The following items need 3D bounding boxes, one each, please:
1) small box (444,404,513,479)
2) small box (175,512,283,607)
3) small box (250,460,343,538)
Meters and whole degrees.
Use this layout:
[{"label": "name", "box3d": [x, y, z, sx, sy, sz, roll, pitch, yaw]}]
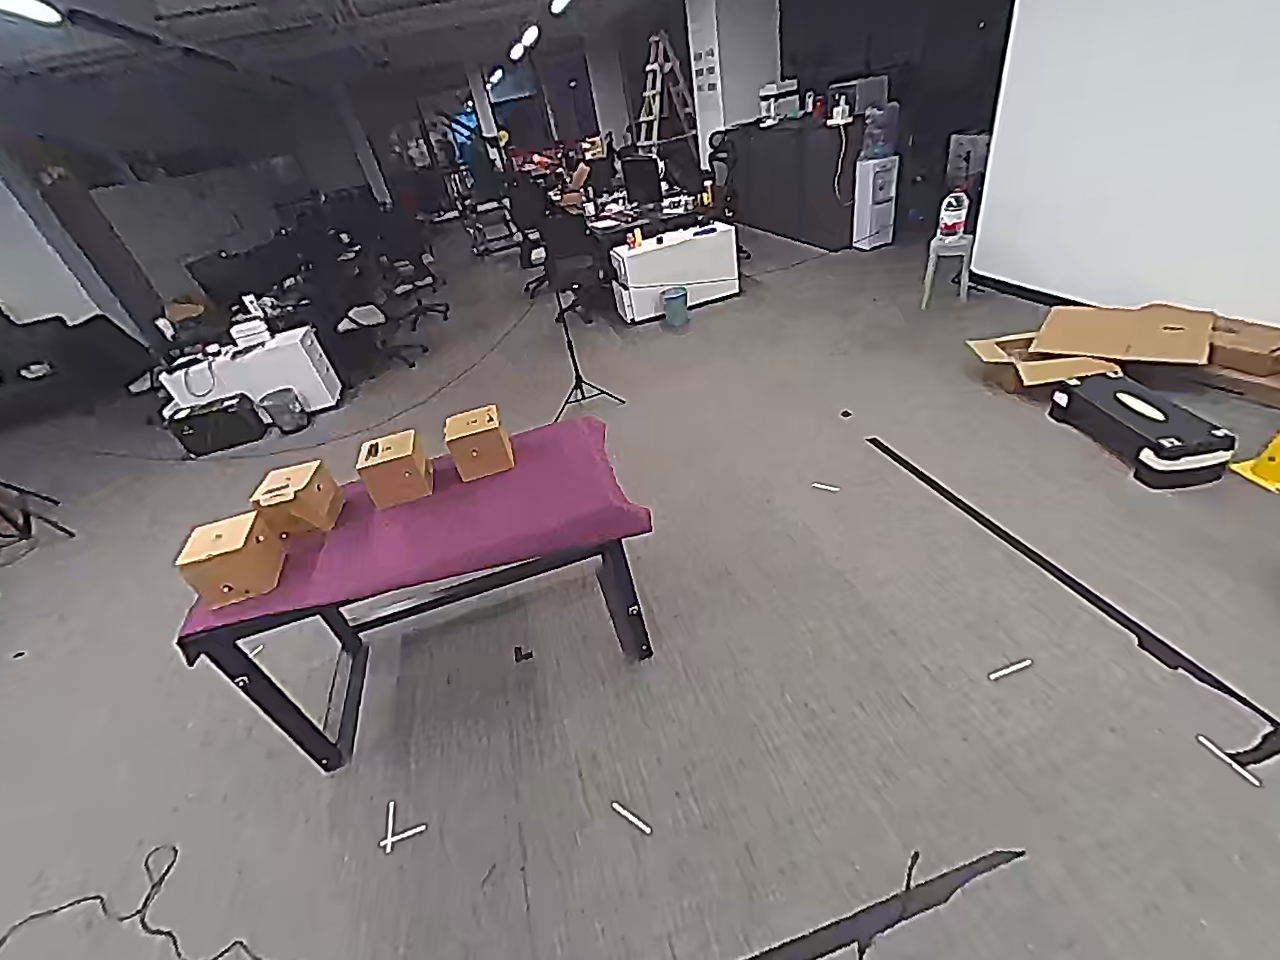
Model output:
[{"label": "small box", "box3d": [-0.543, -0.128, 1.823, 0.179, 0.176, 0.168, -18, 38, -6]}, {"label": "small box", "box3d": [-1.137, 0.223, 1.516, 0.168, 0.176, 0.179, -18, 36, -12]}, {"label": "small box", "box3d": [-1.079, 0.067, 1.719, 0.168, 0.176, 0.179, -14, 35, -3]}]
